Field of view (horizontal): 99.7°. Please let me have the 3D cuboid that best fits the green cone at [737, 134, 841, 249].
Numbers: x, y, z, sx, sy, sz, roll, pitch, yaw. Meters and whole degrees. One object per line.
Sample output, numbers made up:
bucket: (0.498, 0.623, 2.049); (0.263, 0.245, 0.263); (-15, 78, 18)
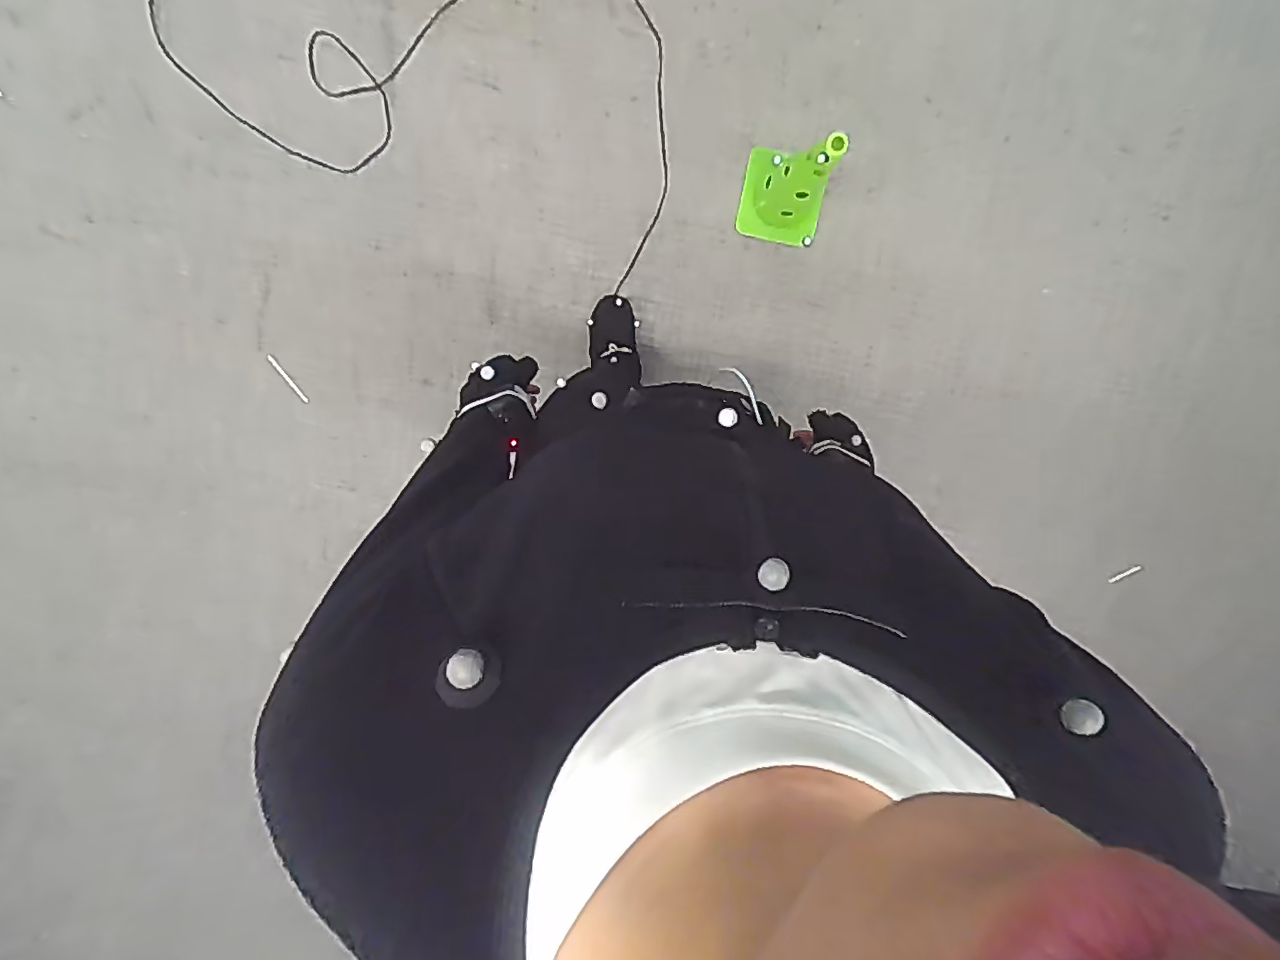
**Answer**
green cone: (0.353, -0.652, 1.162); (0.202, 0.368, 0.200); (10, 101, -3)
